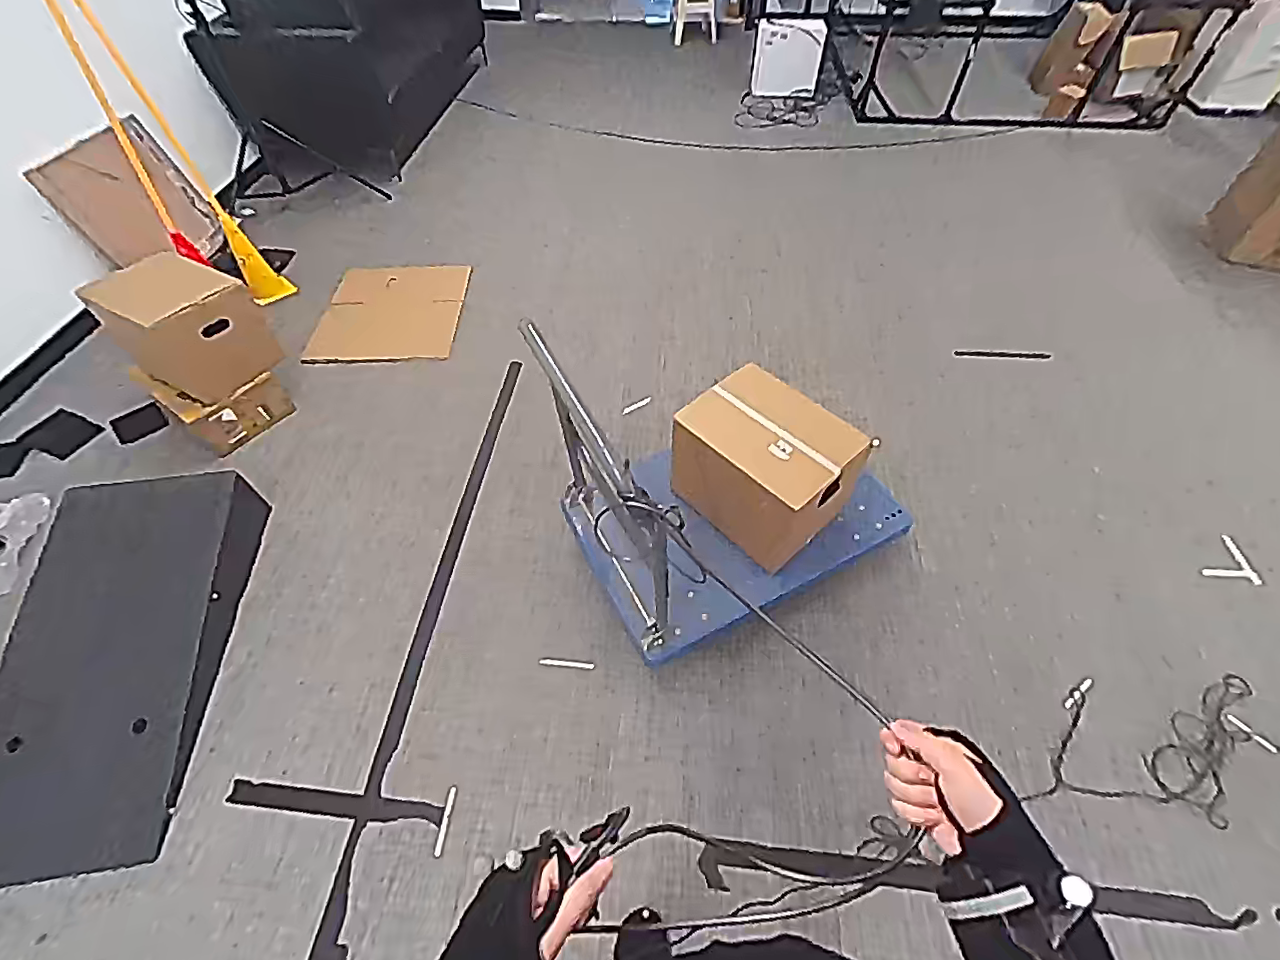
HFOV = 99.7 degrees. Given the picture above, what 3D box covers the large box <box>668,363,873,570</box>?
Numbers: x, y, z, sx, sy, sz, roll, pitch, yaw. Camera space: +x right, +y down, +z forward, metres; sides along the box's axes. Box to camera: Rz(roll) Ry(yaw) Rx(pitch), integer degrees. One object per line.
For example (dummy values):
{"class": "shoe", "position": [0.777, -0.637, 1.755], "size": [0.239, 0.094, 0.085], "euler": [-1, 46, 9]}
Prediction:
{"class": "large box", "position": [0.325, -0.040, 1.465], "size": [0.320, 0.320, 0.408], "euler": [-37, 62, -23]}
